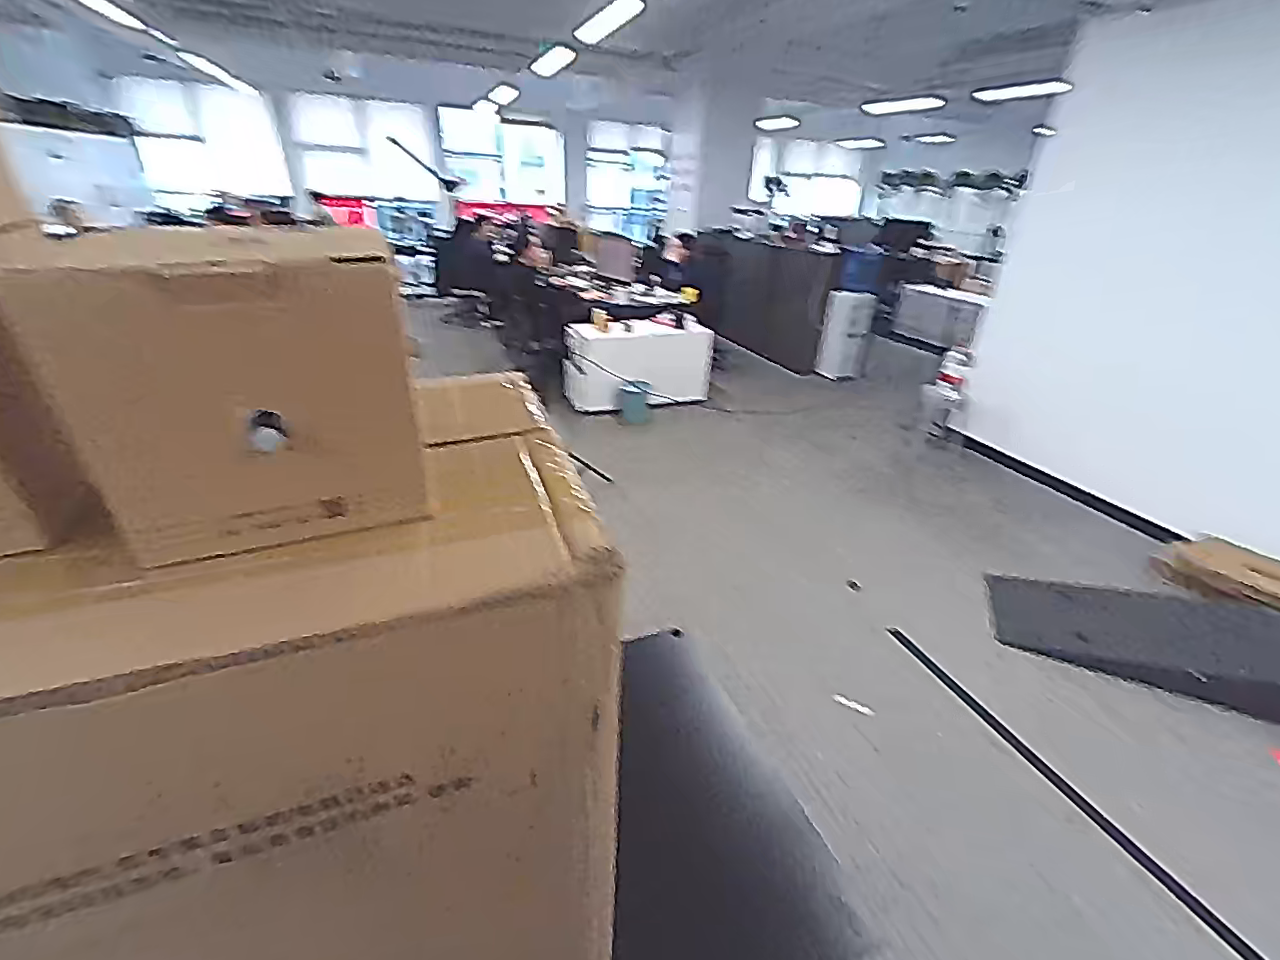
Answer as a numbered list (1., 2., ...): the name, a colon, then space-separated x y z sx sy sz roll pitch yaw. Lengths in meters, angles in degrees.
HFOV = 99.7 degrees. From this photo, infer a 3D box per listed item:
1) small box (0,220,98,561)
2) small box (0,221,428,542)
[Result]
1. small box: -0.457 -0.054 0.314 0.168 0.176 0.179 -12 33 -25
2. small box: -0.248 -0.073 0.367 0.168 0.176 0.179 -10 33 -23
